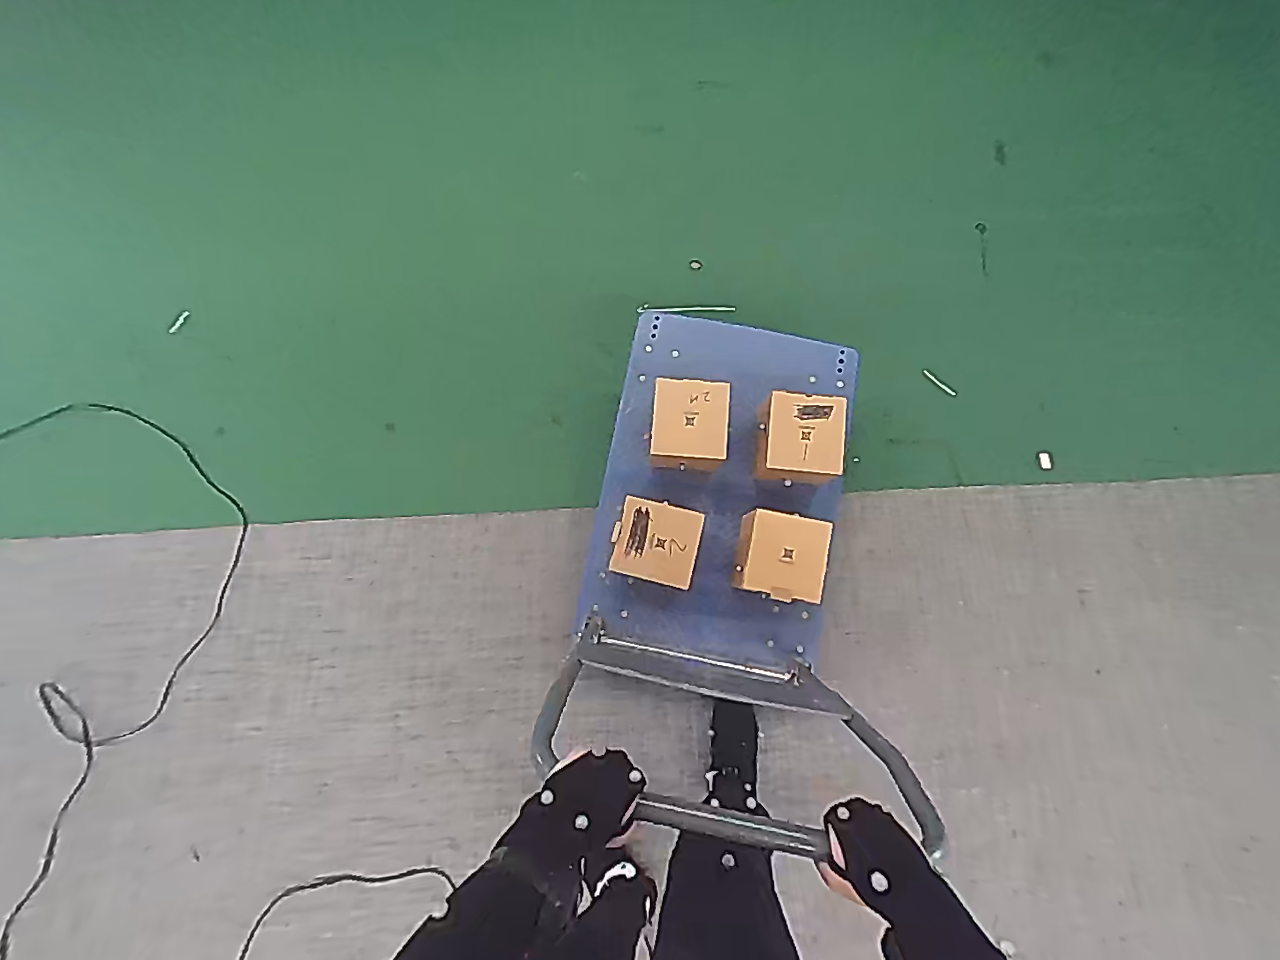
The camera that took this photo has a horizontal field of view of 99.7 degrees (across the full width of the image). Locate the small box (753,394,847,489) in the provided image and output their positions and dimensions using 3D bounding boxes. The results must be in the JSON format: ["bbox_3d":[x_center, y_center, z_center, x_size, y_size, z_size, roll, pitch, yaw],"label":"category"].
[{"bbox_3d":[0.365,-0.084,1.255,0.168,0.176,0.179,7,82,2],"label":"small box"}]

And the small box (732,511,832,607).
[{"bbox_3d":[0.312,0.176,1.218,0.168,0.176,0.179,12,83,2],"label":"small box"}]

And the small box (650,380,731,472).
[{"bbox_3d":[0.113,-0.118,1.261,0.168,0.176,0.179,5,82,0],"label":"small box"}]
